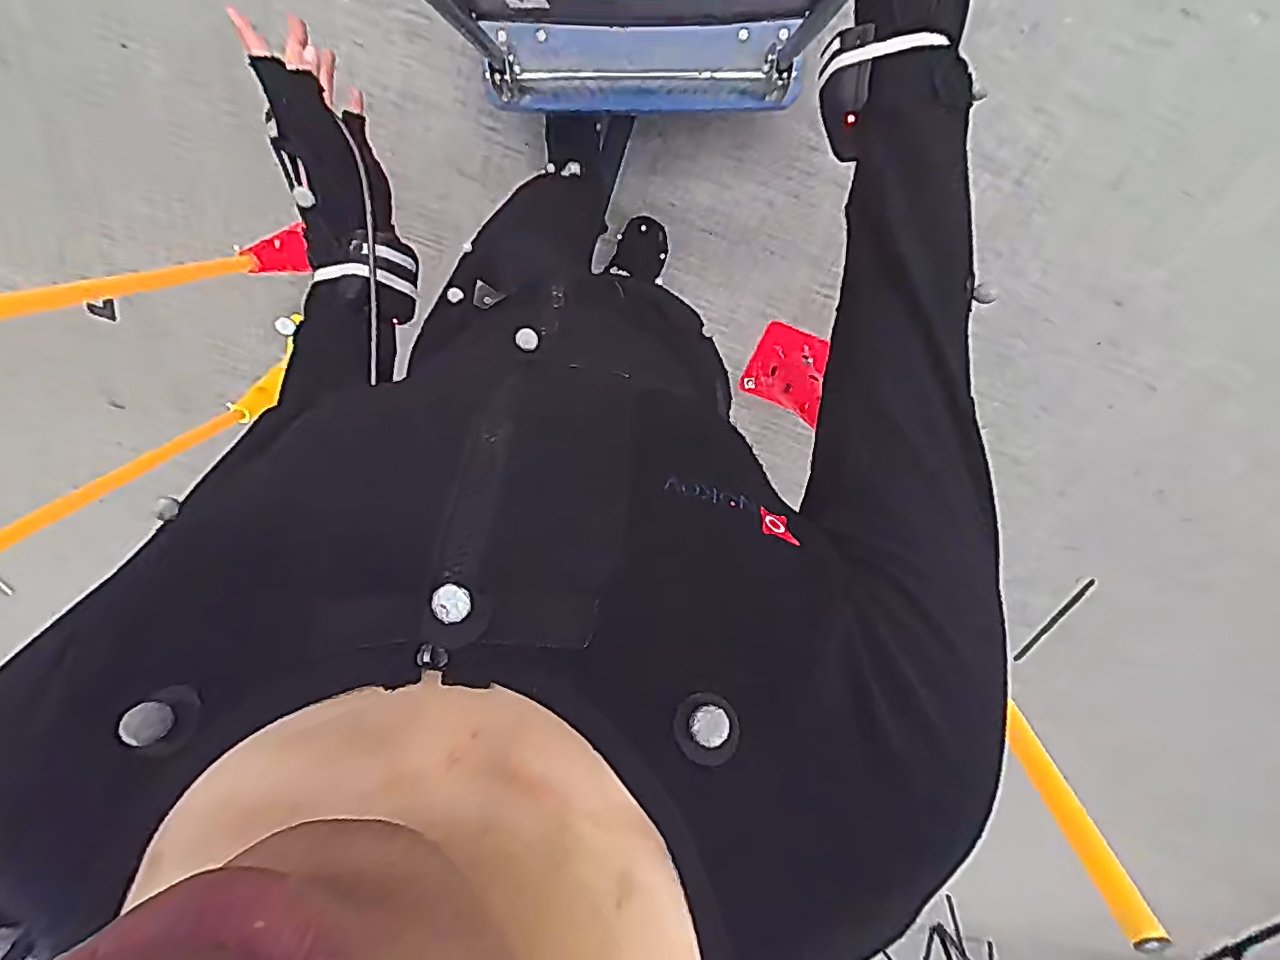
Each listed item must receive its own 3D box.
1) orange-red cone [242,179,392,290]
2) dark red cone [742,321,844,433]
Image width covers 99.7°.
[{"bbox_3d":[-0.708,-0.494,1.137,0.198,0.360,0.199,24,117,-13],"label":"orange-red cone"},{"bbox_3d":[0.384,-0.207,1.243,0.201,0.394,0.202,17,120,-10],"label":"dark red cone"}]
